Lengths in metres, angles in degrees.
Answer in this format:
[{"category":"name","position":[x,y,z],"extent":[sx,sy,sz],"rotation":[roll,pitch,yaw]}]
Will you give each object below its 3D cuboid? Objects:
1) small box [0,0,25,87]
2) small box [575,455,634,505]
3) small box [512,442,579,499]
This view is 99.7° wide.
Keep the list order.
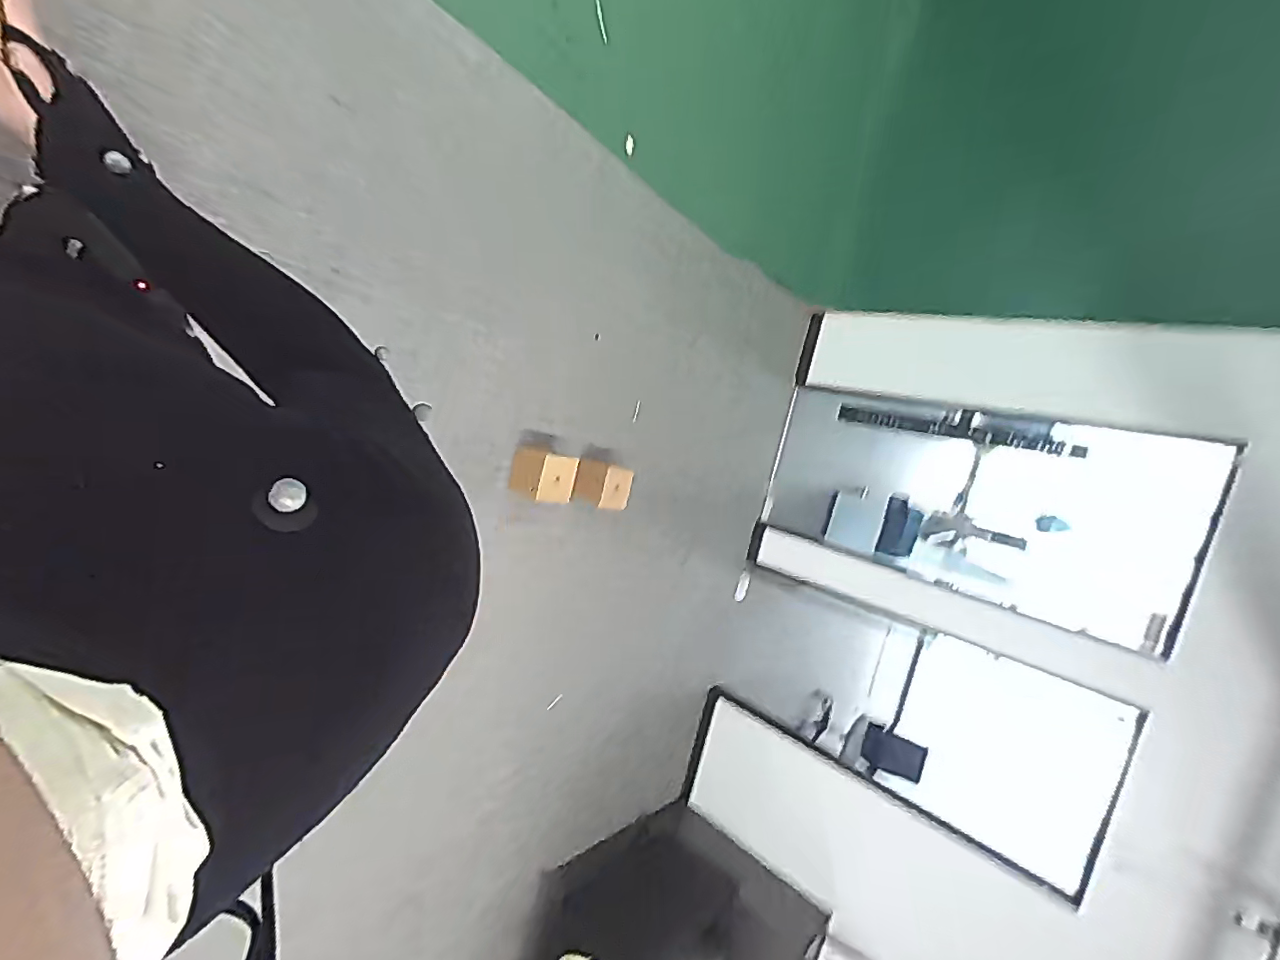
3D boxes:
[{"category":"small box","position":[-0.574,-0.407,0.378],"extent":[0.179,0.176,0.168],"rotation":[-8,113,-46]},{"category":"small box","position":[-0.154,-0.003,2.285],"extent":[0.168,0.176,0.179],"rotation":[7,99,-50]},{"category":"small box","position":[-0.360,-0.038,2.035],"extent":[0.168,0.176,0.179],"rotation":[6,100,-51]}]
